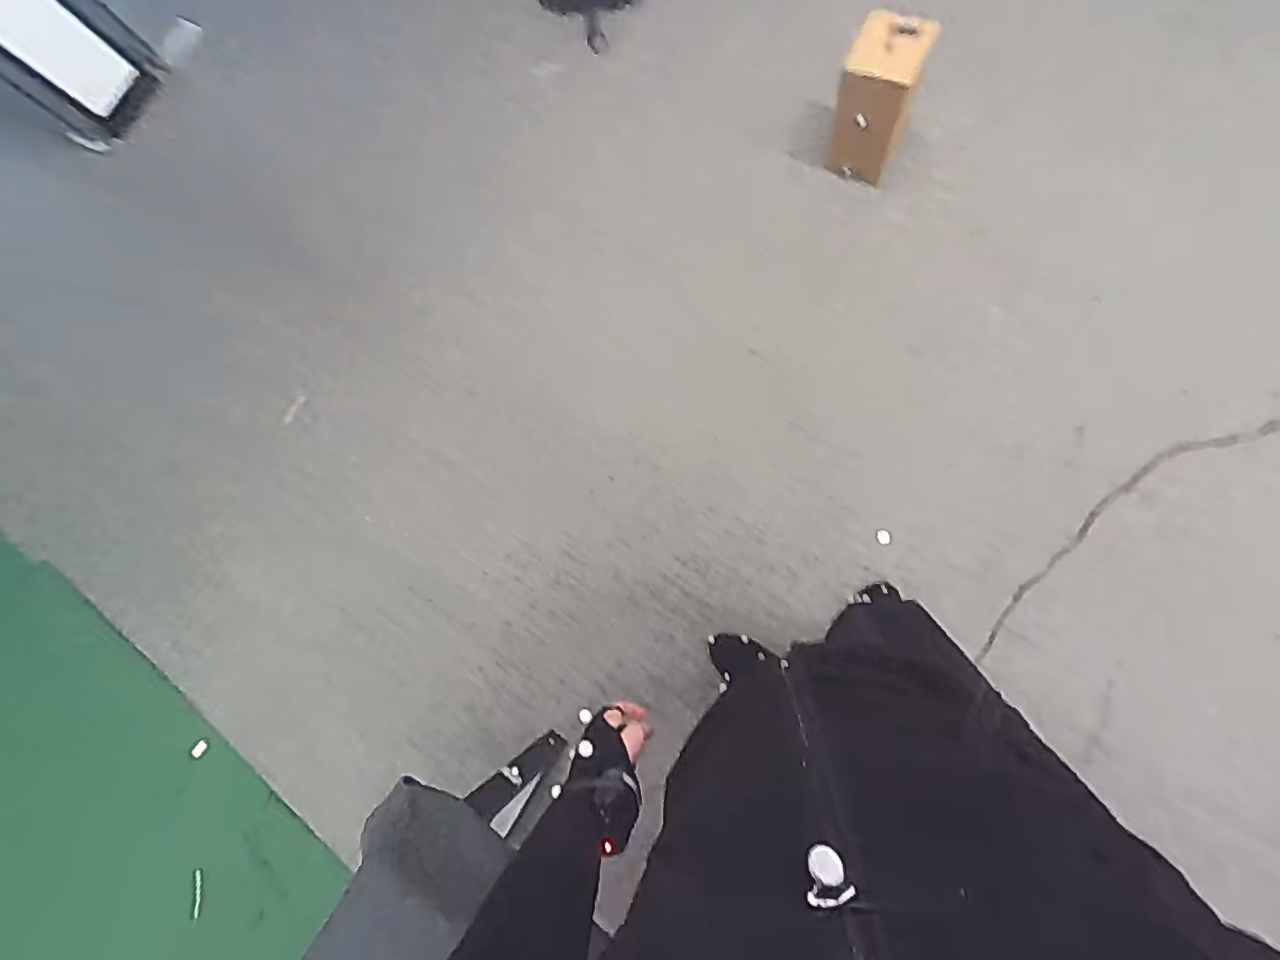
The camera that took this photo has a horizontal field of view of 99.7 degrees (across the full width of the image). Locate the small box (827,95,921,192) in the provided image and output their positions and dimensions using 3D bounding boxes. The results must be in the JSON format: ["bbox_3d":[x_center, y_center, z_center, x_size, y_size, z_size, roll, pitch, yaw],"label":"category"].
[{"bbox_3d":[0.634,-0.945,1.490,0.168,0.176,0.179,28,86,15],"label":"small box"}]

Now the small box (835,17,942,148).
[{"bbox_3d":[0.600,-0.972,1.331,0.168,0.176,0.179,27,85,15],"label":"small box"}]
